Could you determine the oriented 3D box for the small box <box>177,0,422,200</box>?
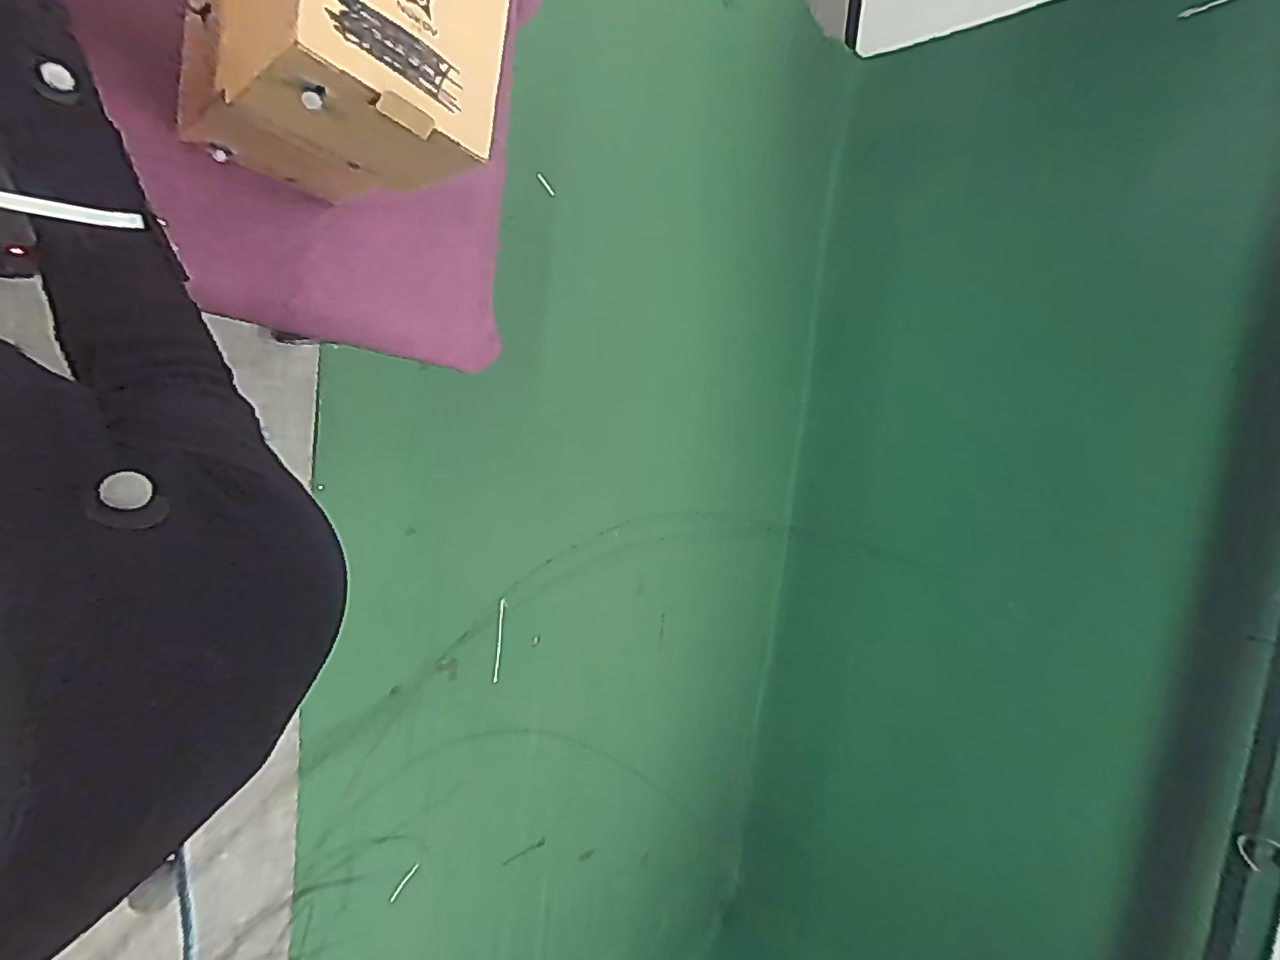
[{"bbox_3d":[-0.370,-0.434,0.589,0.168,0.176,0.179,8,92,-55],"label":"small box"}]
